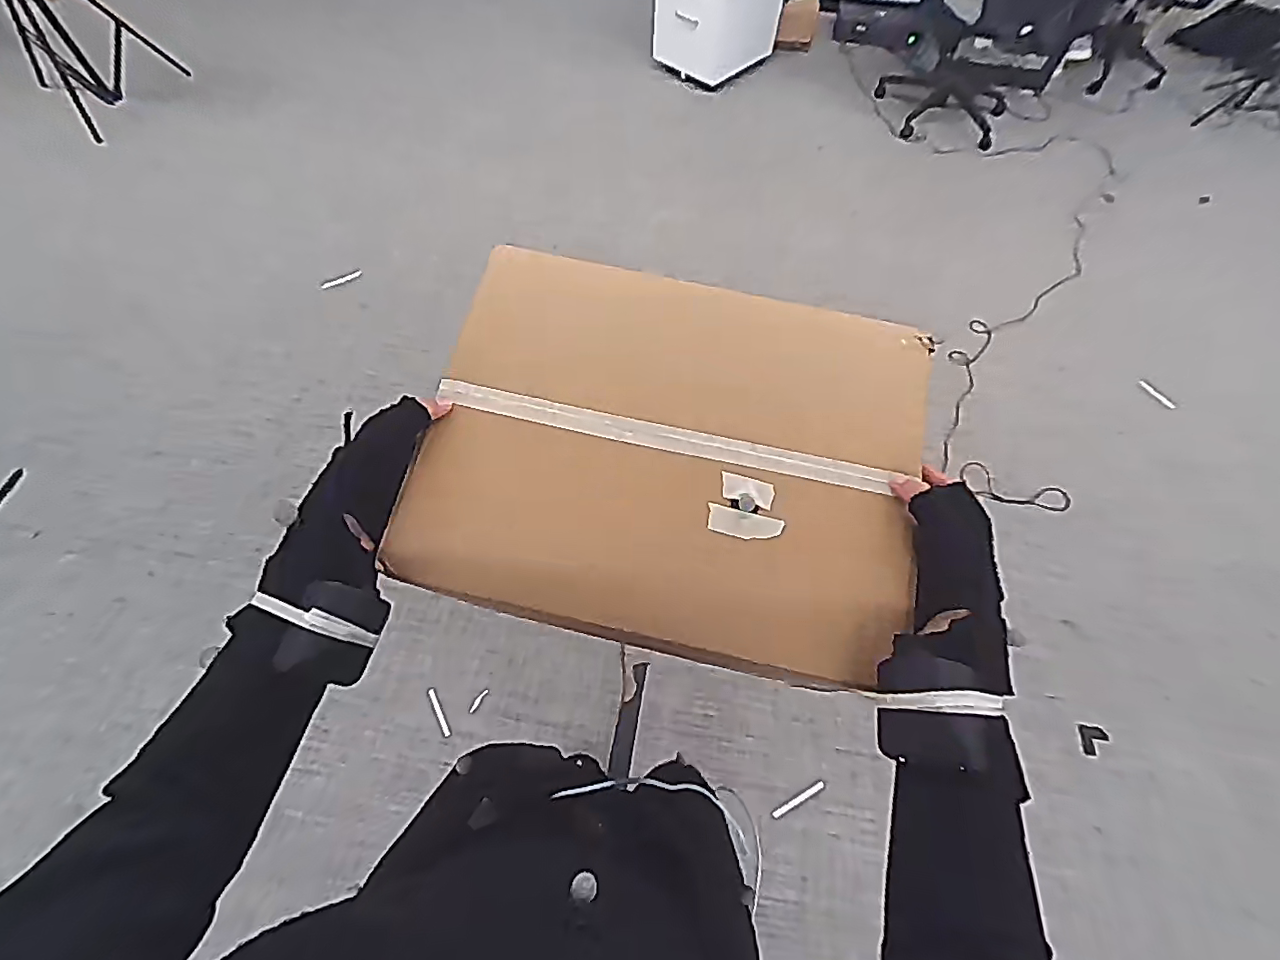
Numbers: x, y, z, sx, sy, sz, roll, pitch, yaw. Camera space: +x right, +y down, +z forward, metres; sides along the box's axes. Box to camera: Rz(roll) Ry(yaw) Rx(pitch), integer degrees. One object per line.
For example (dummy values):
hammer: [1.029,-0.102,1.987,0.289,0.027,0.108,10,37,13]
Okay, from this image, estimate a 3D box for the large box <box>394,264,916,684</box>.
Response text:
large box: [0.024,0.020,0.599,0.408,0.320,0.320,12,73,2]
